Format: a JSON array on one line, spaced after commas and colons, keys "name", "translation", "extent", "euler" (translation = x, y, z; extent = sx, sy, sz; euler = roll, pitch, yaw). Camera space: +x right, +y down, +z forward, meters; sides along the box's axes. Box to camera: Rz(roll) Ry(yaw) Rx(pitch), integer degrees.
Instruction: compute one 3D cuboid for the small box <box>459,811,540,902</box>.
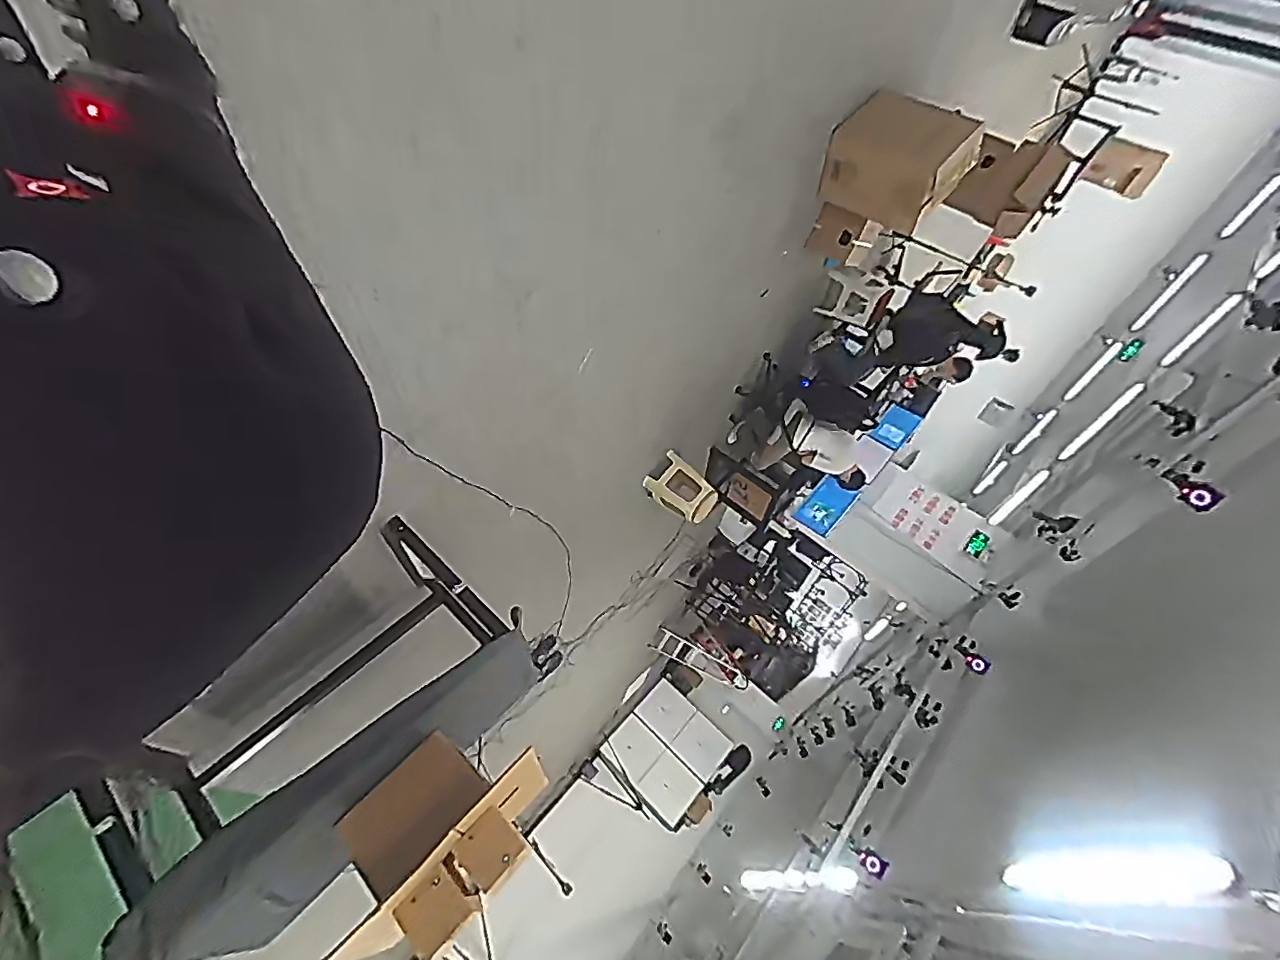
[{"name": "small box", "translation": [-0.434, 1.167, 1.682], "extent": [0.168, 0.176, 0.179], "euler": [-42, 155, -29]}]
